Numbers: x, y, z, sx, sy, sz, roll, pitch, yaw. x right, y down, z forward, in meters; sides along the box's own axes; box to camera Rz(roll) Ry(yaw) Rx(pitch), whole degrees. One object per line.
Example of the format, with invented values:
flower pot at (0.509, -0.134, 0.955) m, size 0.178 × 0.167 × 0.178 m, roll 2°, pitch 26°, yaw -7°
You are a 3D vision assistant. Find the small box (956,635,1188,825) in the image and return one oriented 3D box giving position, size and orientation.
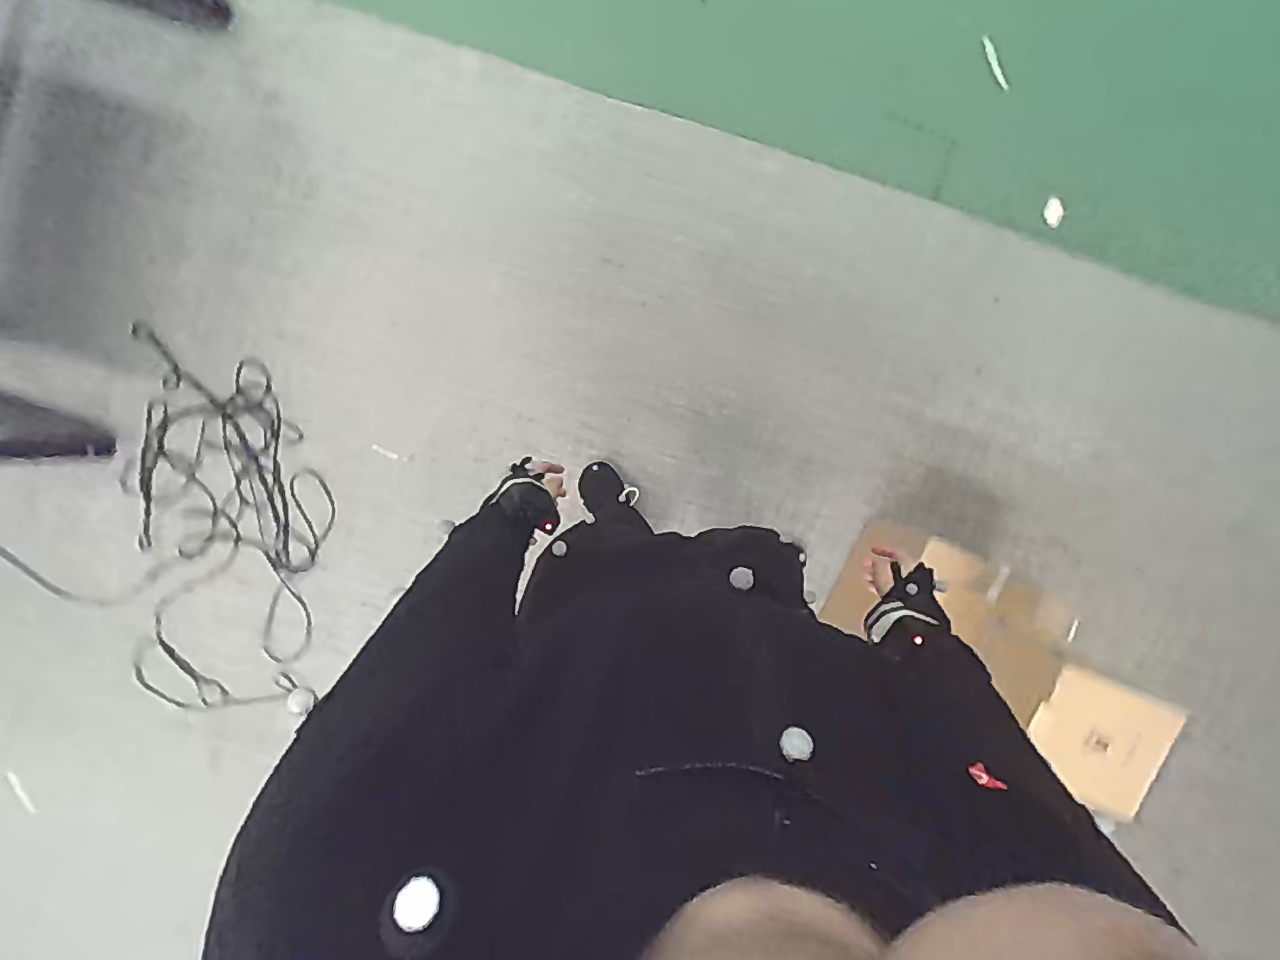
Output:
small box at (0.612, 0.350, 0.796) m, size 0.179 × 0.176 × 0.168 m, roll 23°, pitch 95°, yaw -1°

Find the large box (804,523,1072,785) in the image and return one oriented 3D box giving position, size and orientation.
large box at (0.621, 0.352, 1.201) m, size 0.320 × 0.320 × 0.408 m, roll 25°, pitch 95°, yaw 1°

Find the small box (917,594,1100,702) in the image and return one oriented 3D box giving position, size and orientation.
small box at (0.633, 0.327, 0.956) m, size 0.168 × 0.176 × 0.179 m, roll 31°, pitch 94°, yaw -1°
